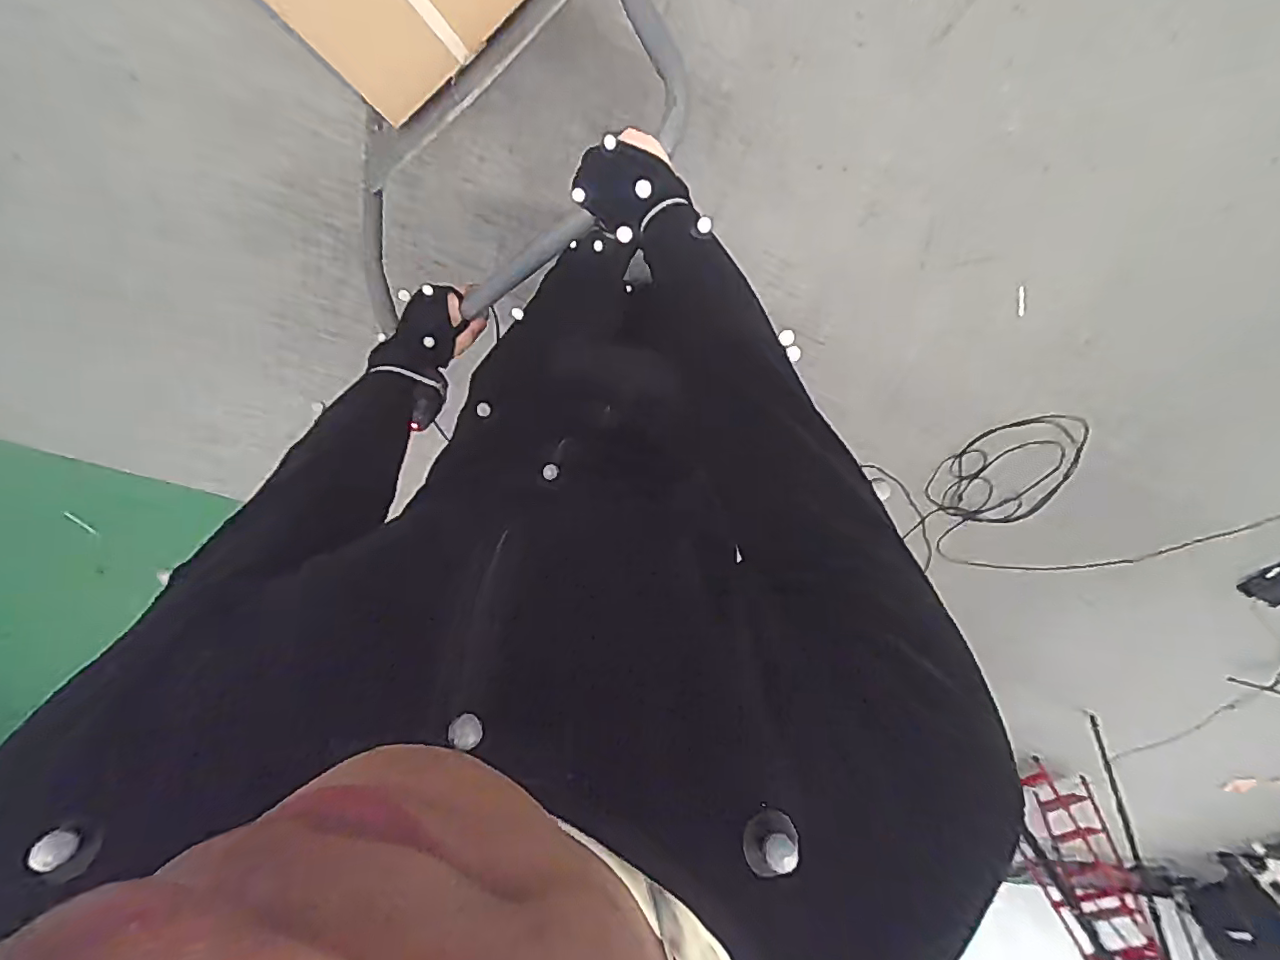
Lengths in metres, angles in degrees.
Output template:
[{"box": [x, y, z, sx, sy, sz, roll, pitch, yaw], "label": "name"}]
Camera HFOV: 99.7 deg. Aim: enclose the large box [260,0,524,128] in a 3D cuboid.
[{"box": [-0.386, -0.803, 0.717, 0.320, 0.320, 0.408, -27, 146, 23], "label": "large box"}]
